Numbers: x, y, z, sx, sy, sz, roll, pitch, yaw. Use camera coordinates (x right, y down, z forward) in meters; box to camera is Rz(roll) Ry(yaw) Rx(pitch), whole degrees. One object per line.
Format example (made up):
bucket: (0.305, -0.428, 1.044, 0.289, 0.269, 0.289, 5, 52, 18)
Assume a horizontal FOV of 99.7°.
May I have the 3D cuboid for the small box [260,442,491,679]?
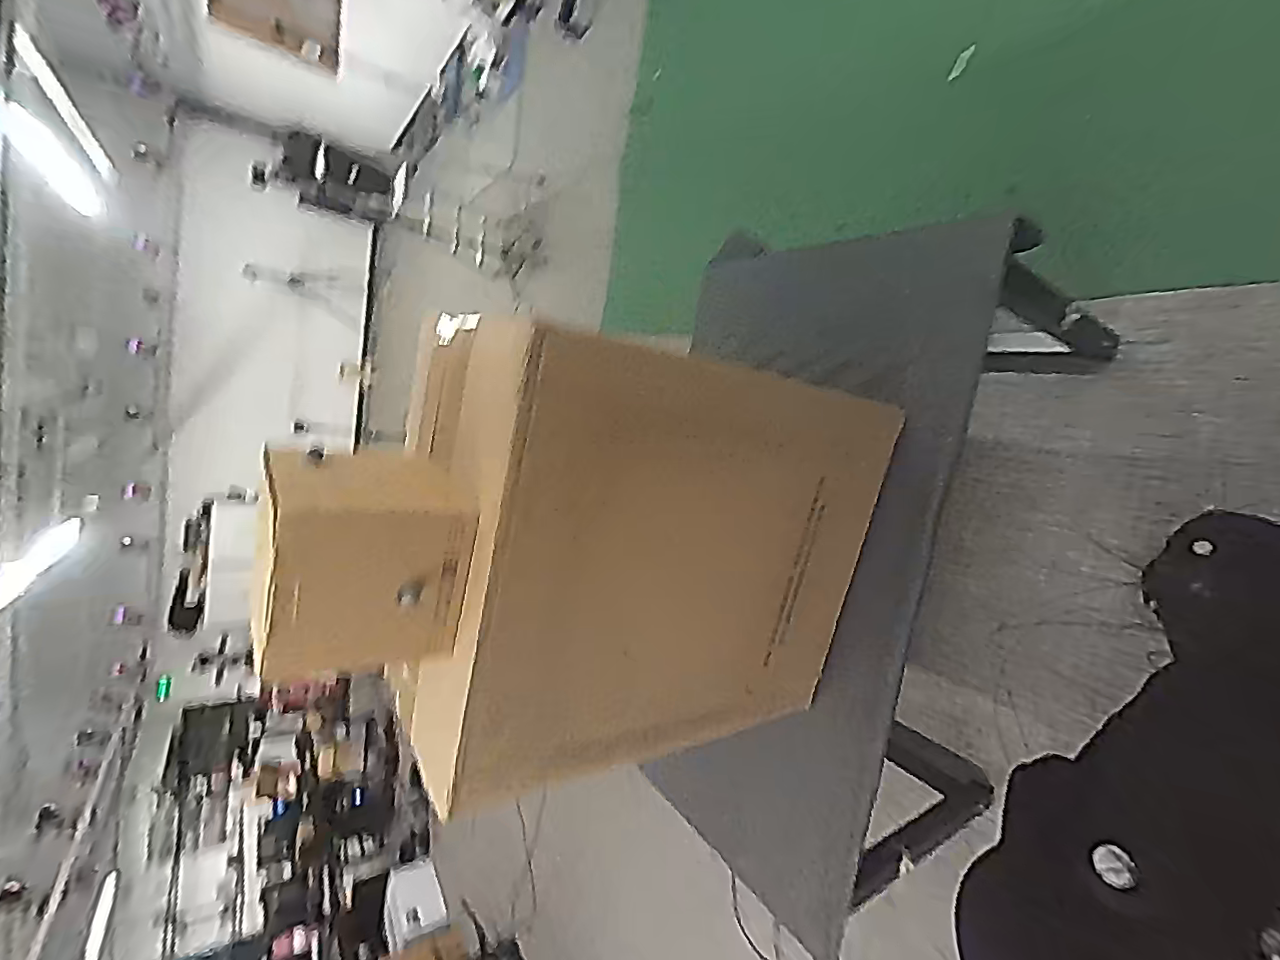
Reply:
small box: (-0.273, 0.070, 0.549, 0.179, 0.176, 0.168, 30, 111, 47)
